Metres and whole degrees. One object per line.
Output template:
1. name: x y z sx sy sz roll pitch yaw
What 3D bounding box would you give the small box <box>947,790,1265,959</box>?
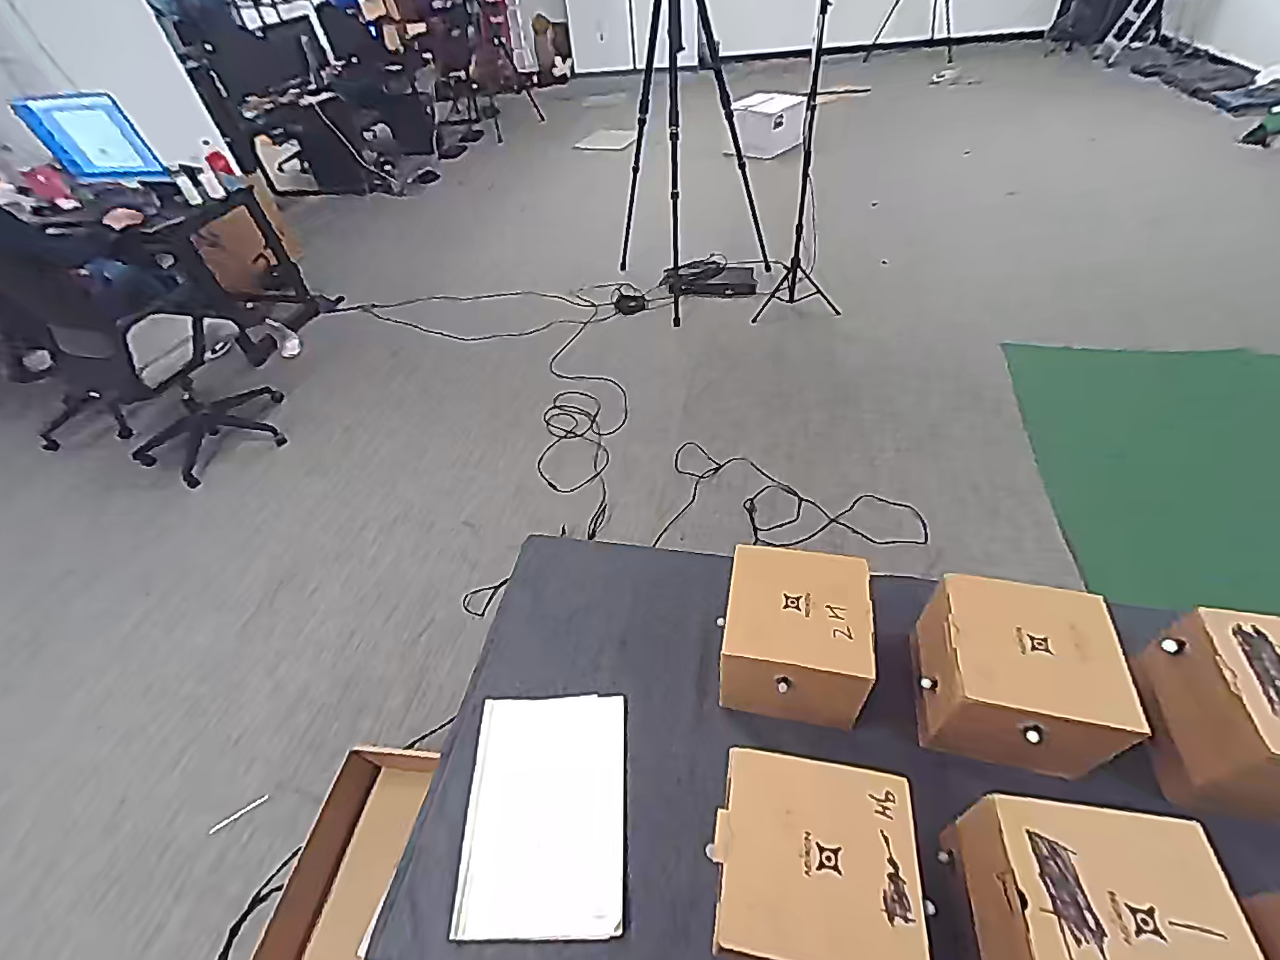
1. small box: 0.409 0.414 0.501 0.179 0.176 0.168 4 46 9
